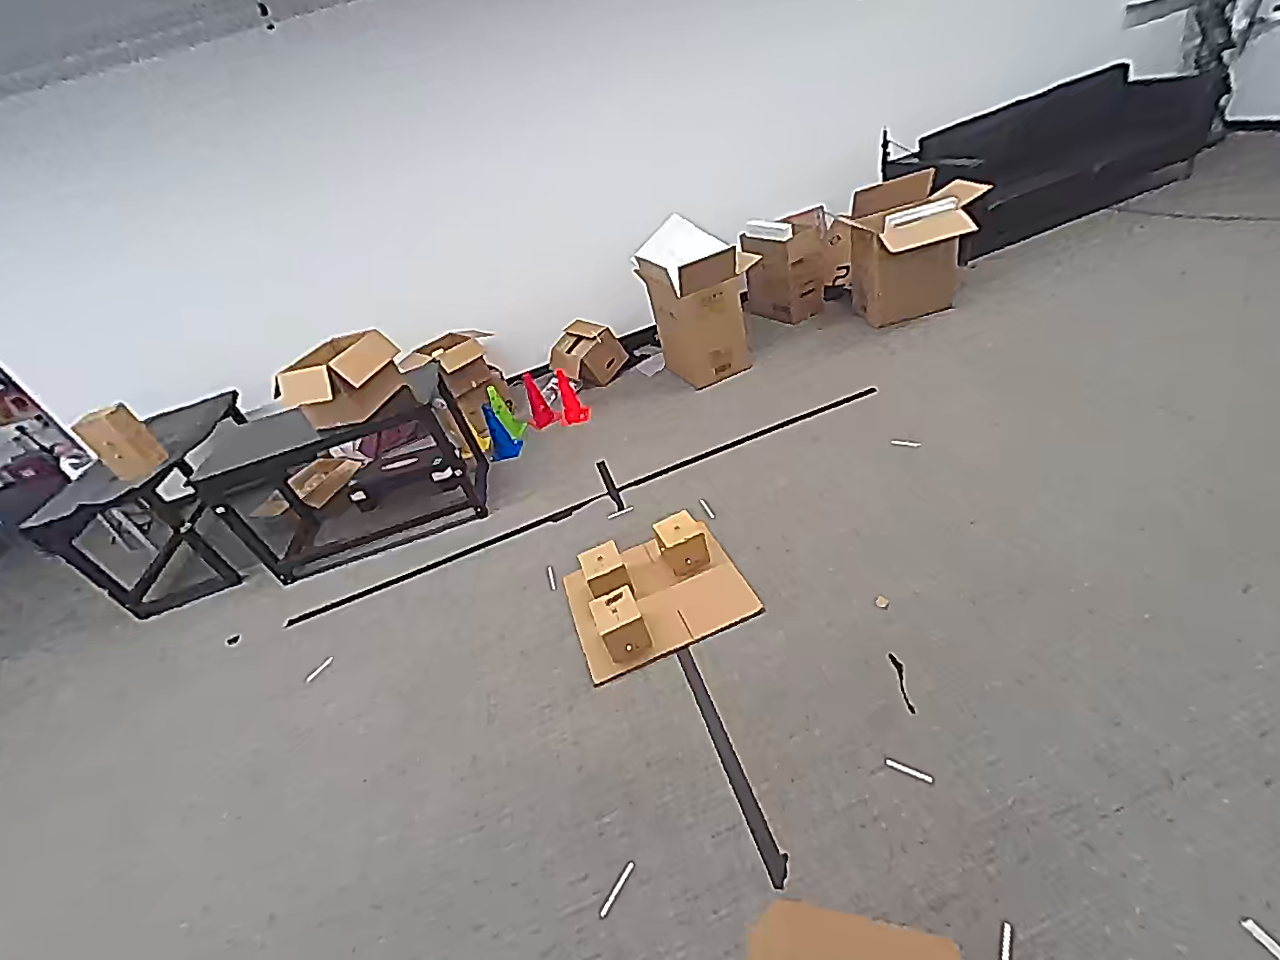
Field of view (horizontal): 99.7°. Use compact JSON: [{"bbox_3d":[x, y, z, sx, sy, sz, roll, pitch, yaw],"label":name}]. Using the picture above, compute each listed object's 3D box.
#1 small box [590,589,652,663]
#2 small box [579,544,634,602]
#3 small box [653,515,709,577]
[{"bbox_3d":[-0.072,0.554,2.042,0.168,0.176,0.179,-23,36,-7],"label":"small box"},{"bbox_3d":[-0.142,0.406,2.276,0.168,0.176,0.179,-23,35,-7],"label":"small box"},{"bbox_3d":[0.177,0.284,2.317,0.168,0.176,0.179,-24,35,-10],"label":"small box"}]
